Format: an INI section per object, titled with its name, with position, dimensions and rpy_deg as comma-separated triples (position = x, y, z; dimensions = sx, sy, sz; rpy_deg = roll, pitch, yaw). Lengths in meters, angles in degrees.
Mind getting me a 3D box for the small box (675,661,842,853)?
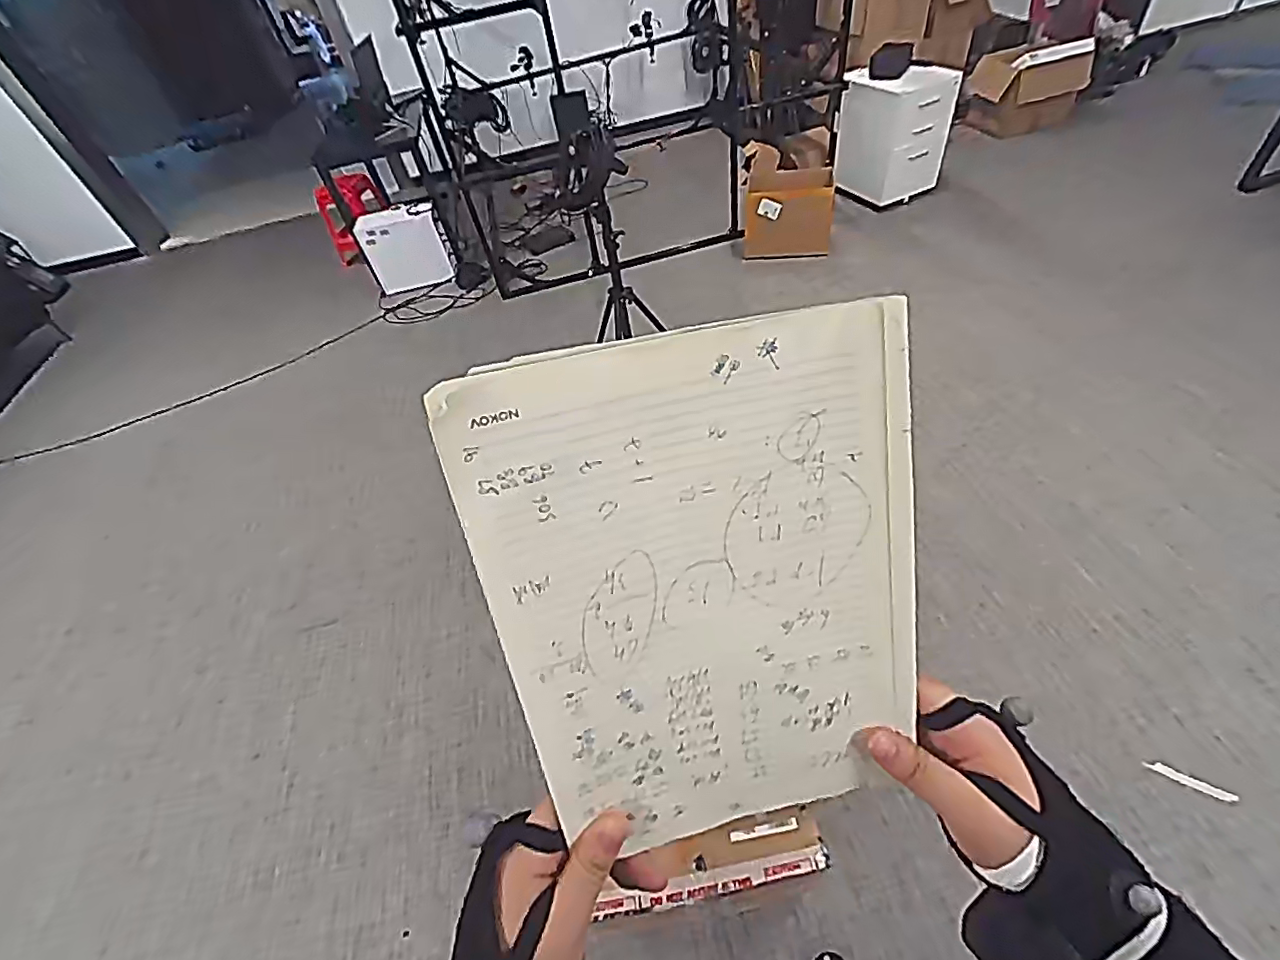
[small box]
position = 0.140, 0.364, 0.707
dimensions = 0.168, 0.176, 0.179
rpy_deg = -9, 49, -1
